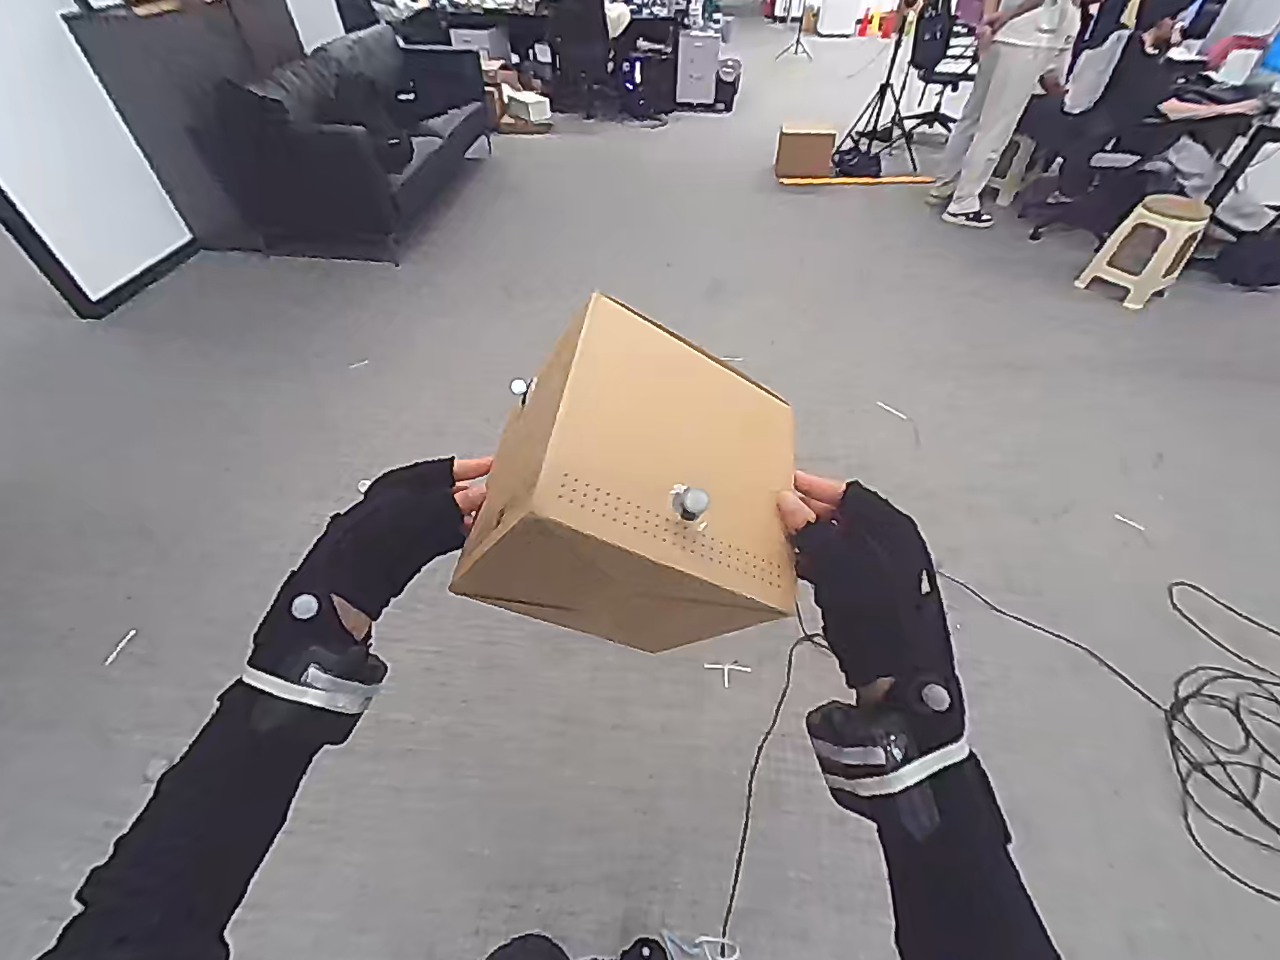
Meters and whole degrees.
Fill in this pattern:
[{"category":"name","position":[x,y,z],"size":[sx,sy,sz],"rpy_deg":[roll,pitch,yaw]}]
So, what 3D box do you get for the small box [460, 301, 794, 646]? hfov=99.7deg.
[{"category":"small box","position":[-0.007,0.013,0.406],"size":[0.179,0.168,0.176],"rpy_deg":[26,53,-23]}]
